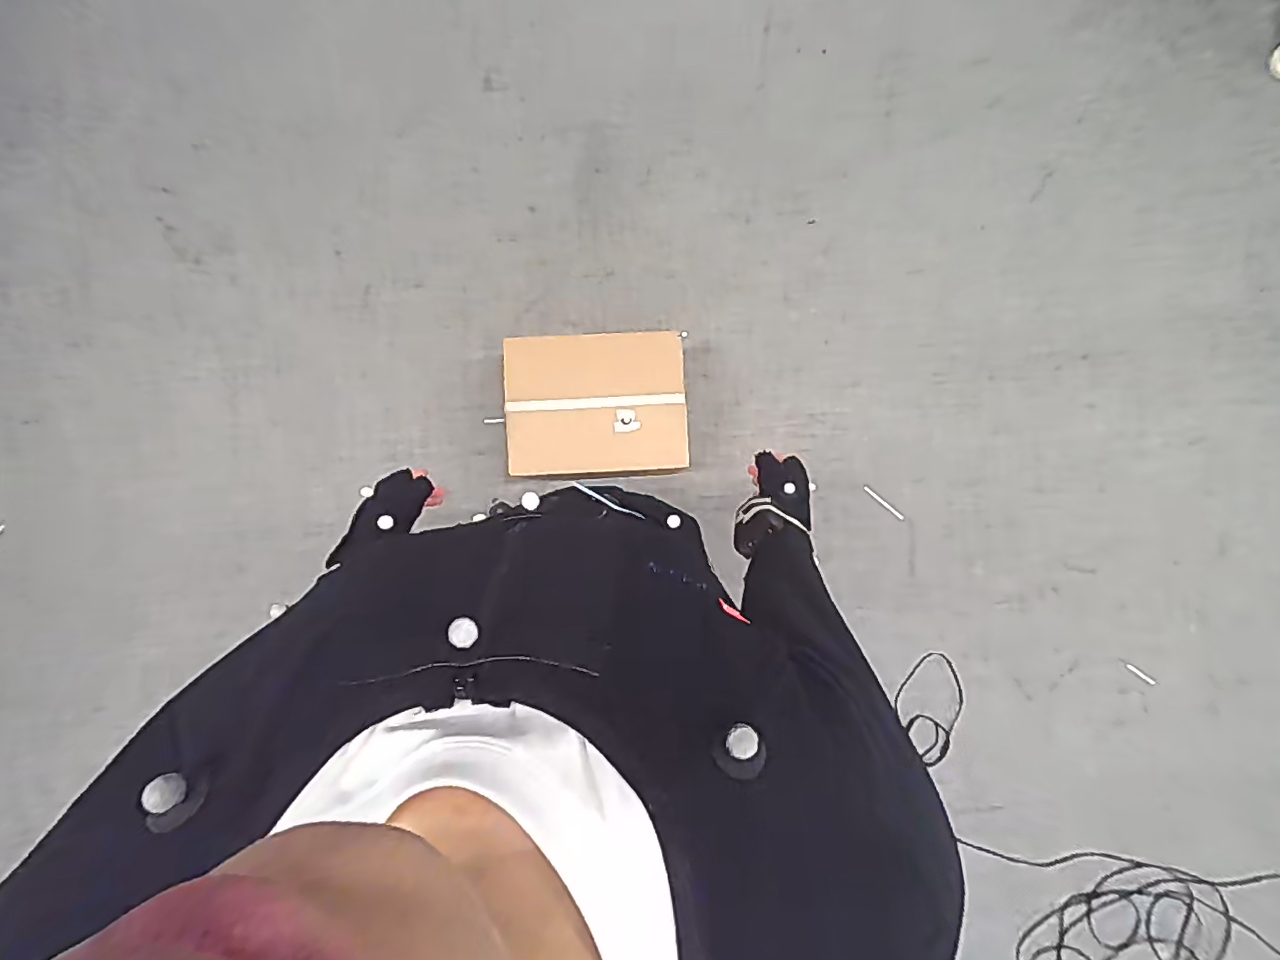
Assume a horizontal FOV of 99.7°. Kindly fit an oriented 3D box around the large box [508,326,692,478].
[{"bbox_3d":[-0.096,-0.177,1.355,0.408,0.320,0.320,-3,88,-2],"label":"large box"}]
